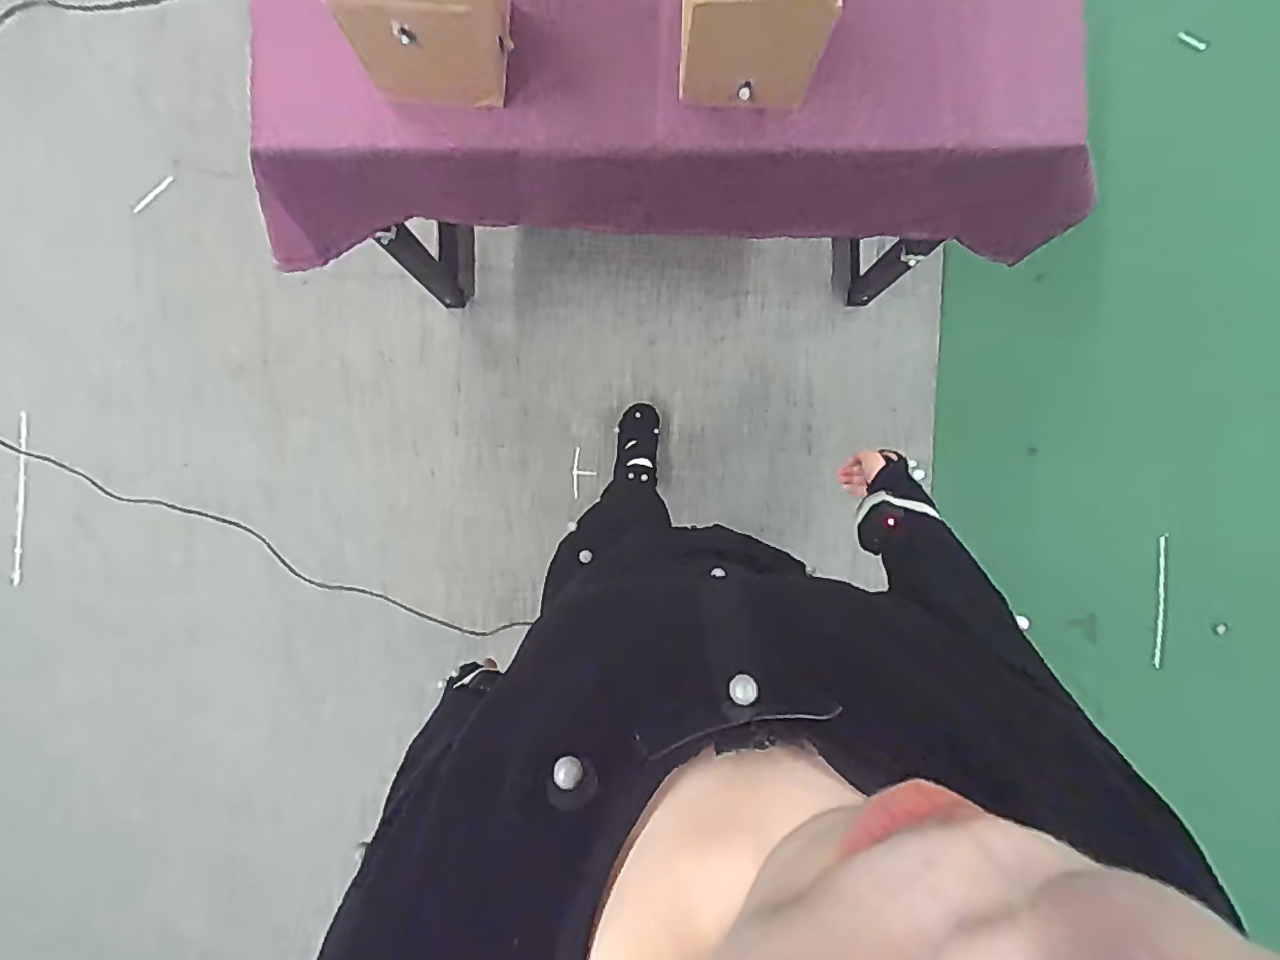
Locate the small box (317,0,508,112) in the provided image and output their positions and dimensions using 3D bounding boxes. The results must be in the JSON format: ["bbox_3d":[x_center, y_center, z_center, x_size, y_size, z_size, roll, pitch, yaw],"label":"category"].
[{"bbox_3d":[-0.281,-0.616,0.702,0.179,0.176,0.168,3,89,-1],"label":"small box"}]

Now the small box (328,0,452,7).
[{"bbox_3d":[-0.274,-0.622,0.538,0.179,0.176,0.168,2,89,0],"label":"small box"}]

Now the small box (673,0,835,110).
[{"bbox_3d":[0.140,-0.621,0.706,0.179,0.176,0.168,2,88,-1],"label":"small box"}]

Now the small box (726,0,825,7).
[{"bbox_3d":[0.140,-0.636,0.543,0.168,0.176,0.179,2,90,0],"label":"small box"}]
